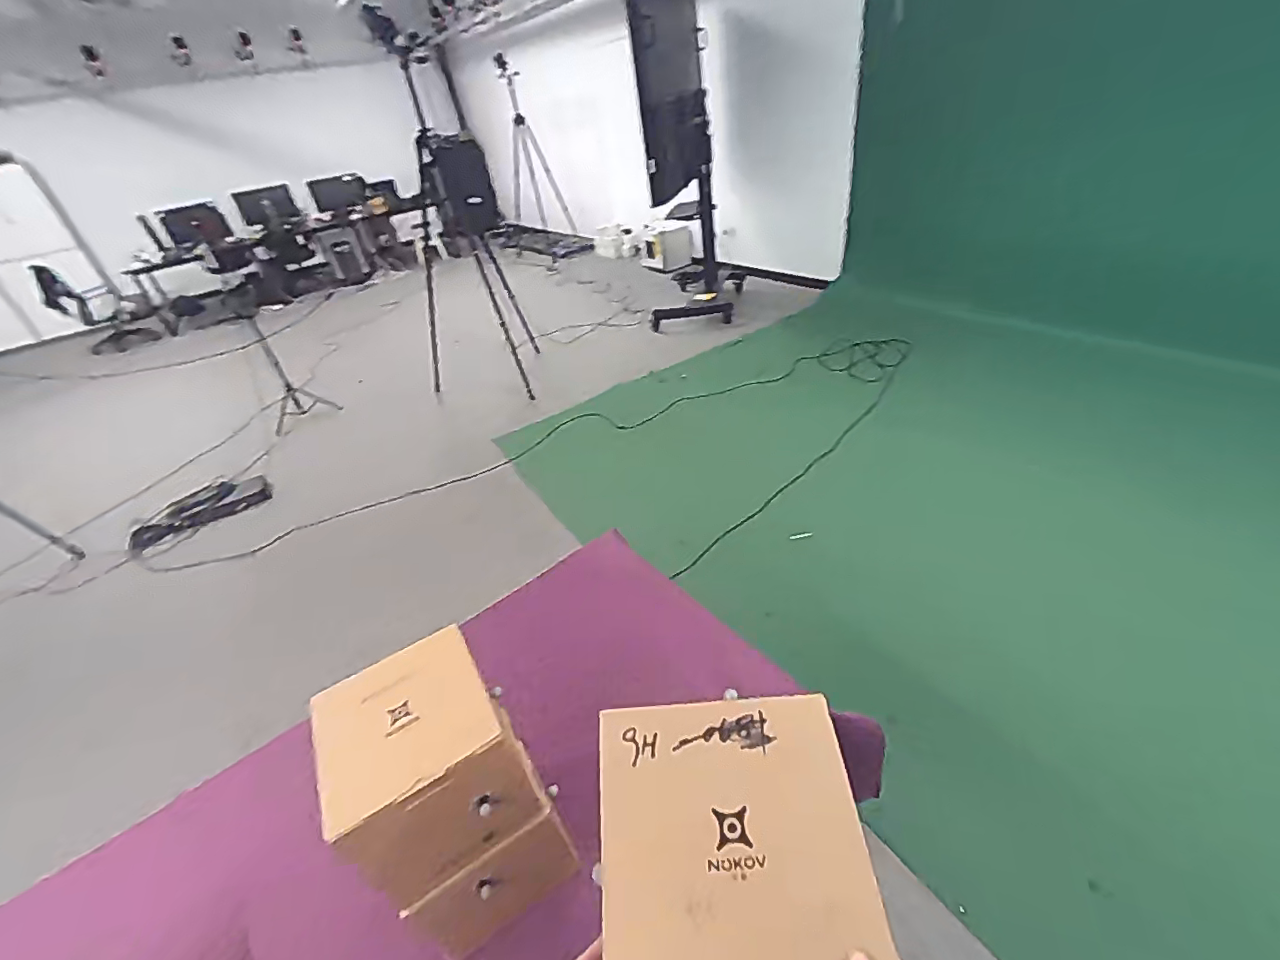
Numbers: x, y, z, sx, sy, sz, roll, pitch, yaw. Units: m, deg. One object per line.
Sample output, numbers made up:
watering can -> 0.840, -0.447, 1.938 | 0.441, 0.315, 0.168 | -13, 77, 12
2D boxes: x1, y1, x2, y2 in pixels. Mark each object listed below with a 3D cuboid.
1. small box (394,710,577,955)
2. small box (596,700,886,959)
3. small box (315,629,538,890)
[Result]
small box -> -0.203, 0.446, 0.691 | 0.179, 0.176, 0.168 | -27, 38, -21
small box -> 0.059, 0.281, 0.399 | 0.168, 0.176, 0.179 | -4, 50, 0
small box -> -0.233, 0.311, 0.604 | 0.168, 0.176, 0.179 | -26, 37, -21
